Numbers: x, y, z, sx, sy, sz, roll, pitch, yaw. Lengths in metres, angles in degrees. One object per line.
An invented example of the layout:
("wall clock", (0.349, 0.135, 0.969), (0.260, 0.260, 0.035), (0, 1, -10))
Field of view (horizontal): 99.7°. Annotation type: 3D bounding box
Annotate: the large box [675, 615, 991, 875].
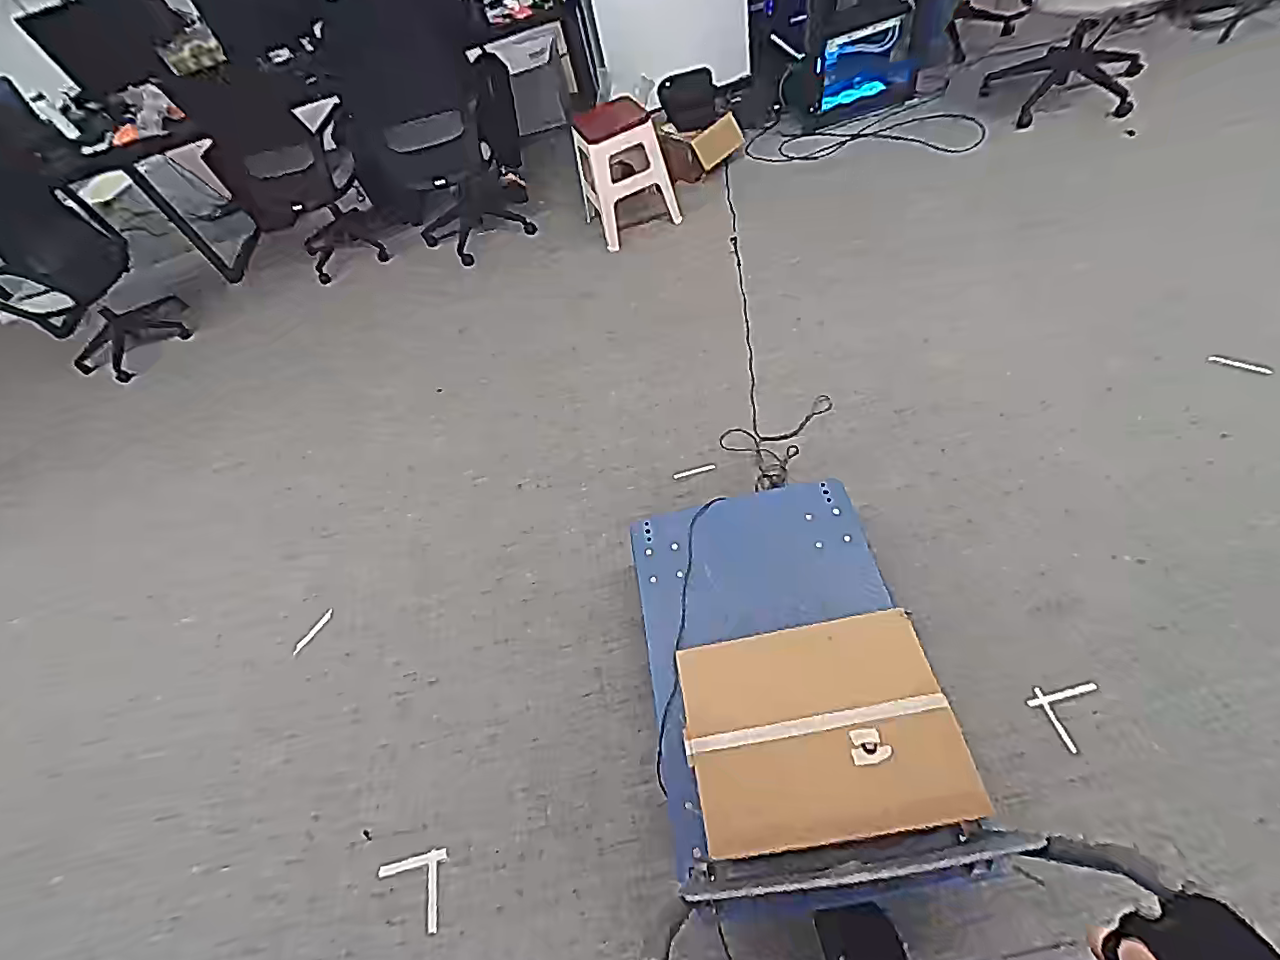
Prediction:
("large box", (0.300, 0.479, 0.962), (0.408, 0.320, 0.320), (-13, 55, 4))
